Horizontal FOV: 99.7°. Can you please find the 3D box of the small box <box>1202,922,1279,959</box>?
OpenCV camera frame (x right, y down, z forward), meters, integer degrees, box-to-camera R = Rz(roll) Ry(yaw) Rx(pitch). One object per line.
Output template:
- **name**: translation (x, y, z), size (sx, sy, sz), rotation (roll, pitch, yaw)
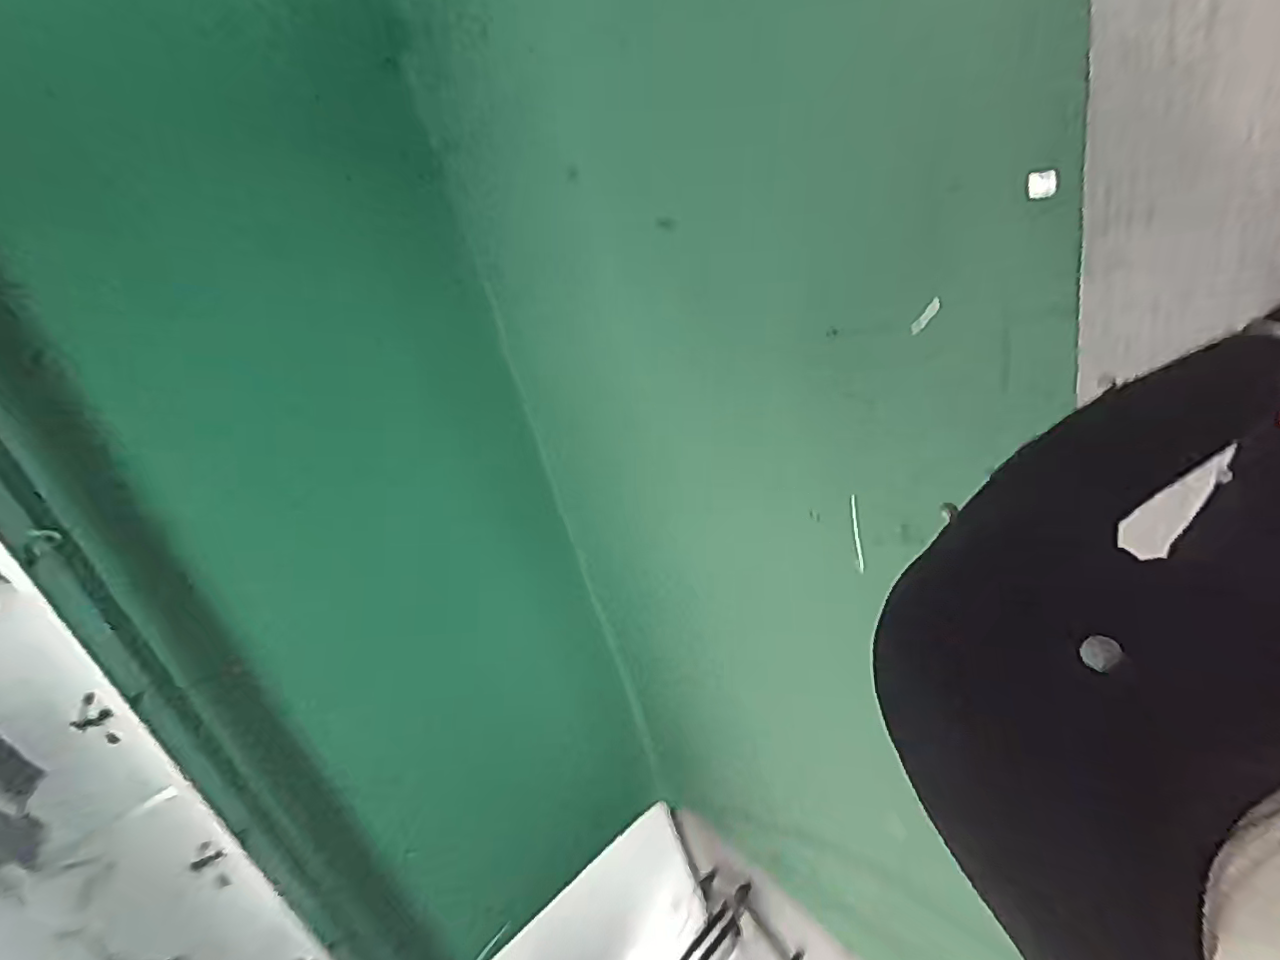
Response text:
- **small box**: translation (1.446, 1.214, 1.278), size (0.168, 0.176, 0.179), rotation (14, 125, 51)
